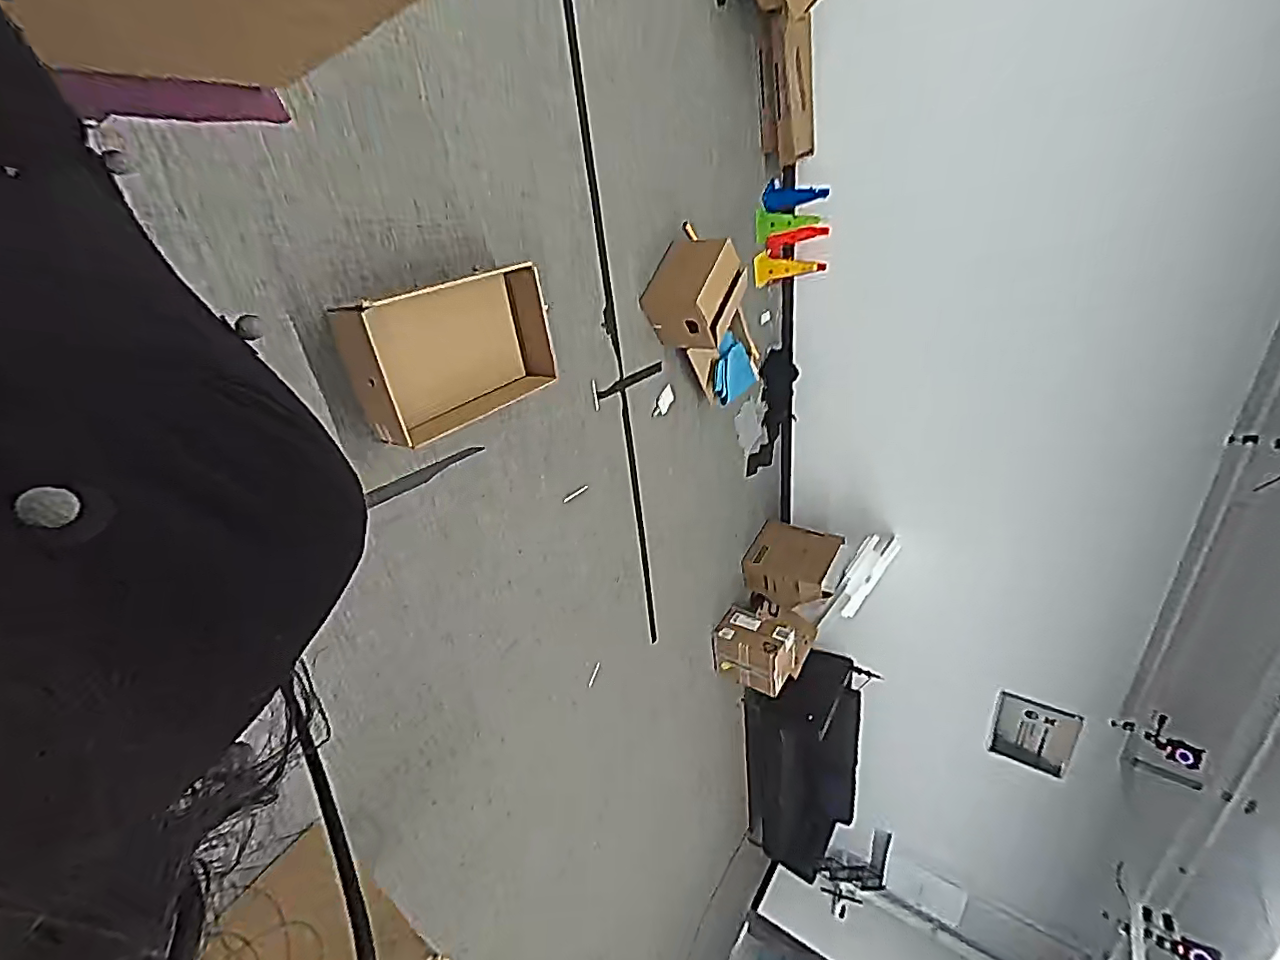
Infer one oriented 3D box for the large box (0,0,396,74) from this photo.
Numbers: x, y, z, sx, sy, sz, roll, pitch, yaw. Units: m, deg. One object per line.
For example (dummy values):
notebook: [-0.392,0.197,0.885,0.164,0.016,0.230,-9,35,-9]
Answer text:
large box: [-0.452,-0.518,0.372,0.408,0.320,0.320,-36,129,-45]
